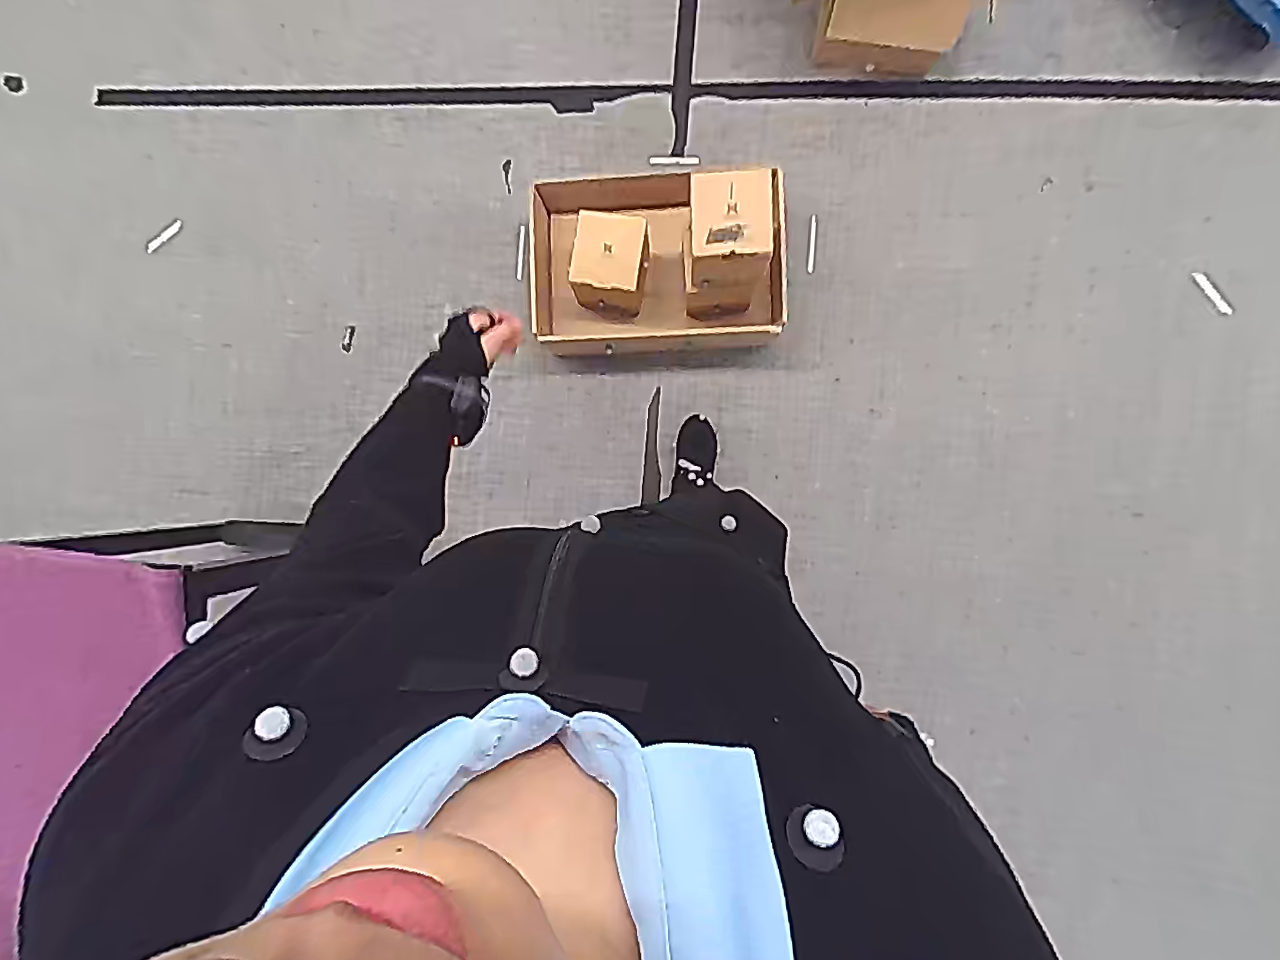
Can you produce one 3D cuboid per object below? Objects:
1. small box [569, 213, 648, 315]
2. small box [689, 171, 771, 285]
[{"bbox_3d":[-0.073,-0.540,1.367,0.168,0.176,0.179,9,90,3],"label":"small box"},{"bbox_3d":[0.193,-0.538,1.180,0.168,0.176,0.179,-1,88,5],"label":"small box"}]
